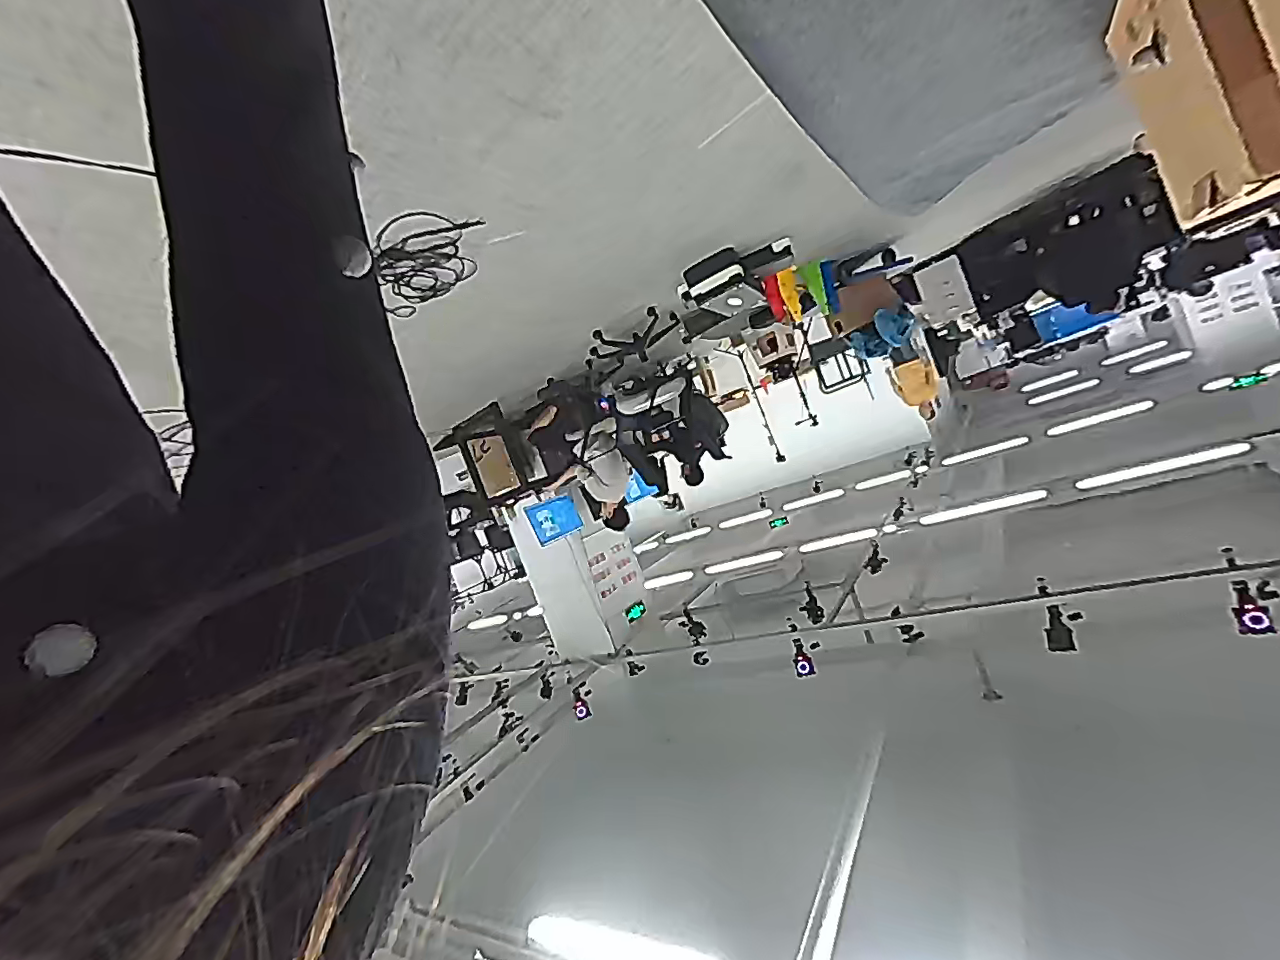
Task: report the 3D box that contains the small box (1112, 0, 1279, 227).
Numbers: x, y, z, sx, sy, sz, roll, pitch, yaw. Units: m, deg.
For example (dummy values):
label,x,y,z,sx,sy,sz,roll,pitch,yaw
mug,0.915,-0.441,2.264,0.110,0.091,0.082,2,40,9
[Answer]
label,x,y,z,sx,sy,sz,roll,pitch,yaw
small box,0.417,-0.279,0.309,0.179,0.176,0.168,-19,-178,38
